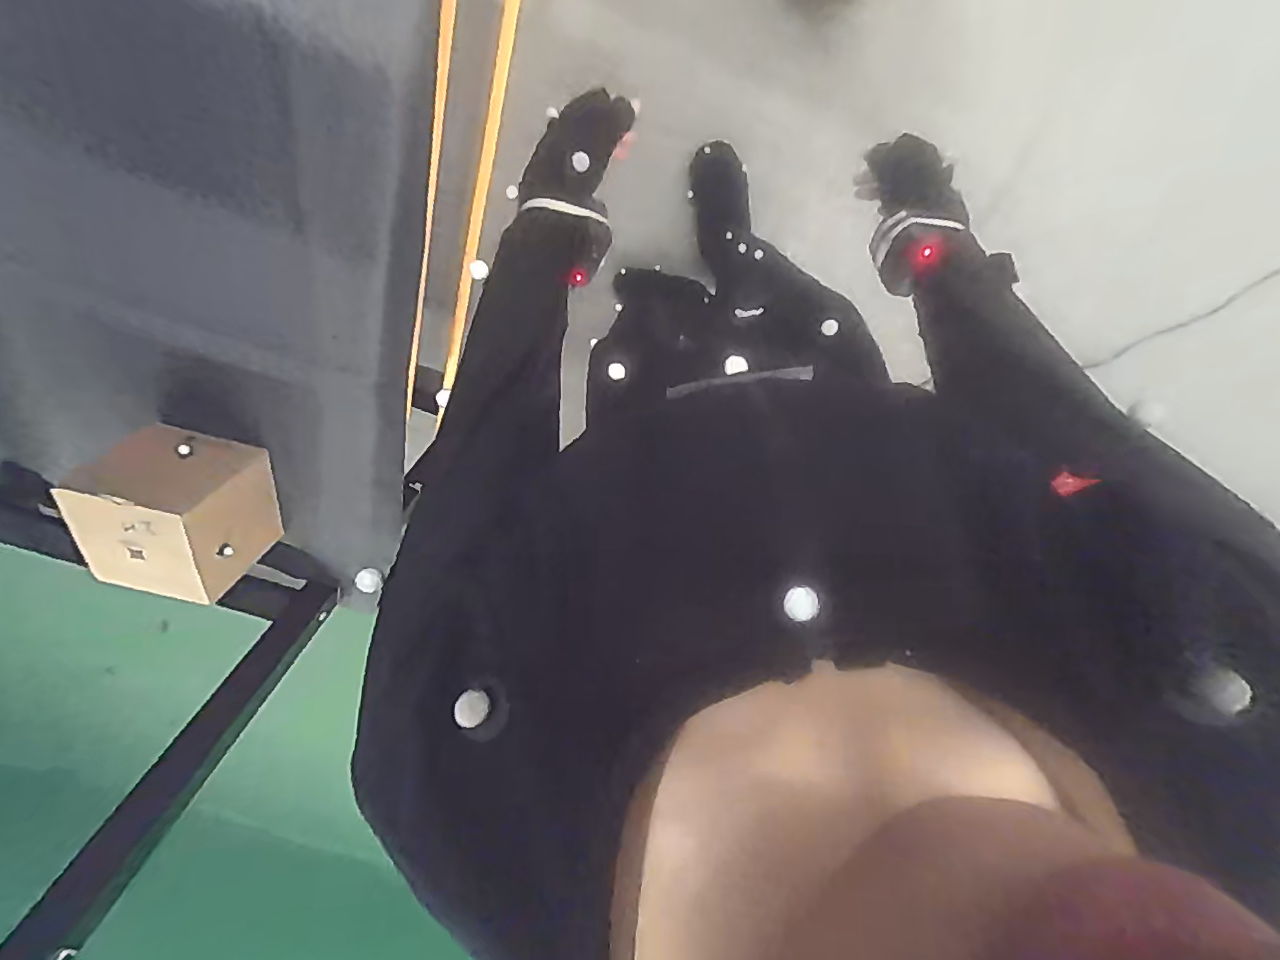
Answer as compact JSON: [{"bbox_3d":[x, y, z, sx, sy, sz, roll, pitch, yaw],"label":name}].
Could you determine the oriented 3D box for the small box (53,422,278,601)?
[{"bbox_3d":[-0.669,0.042,0.794,0.168,0.176,0.179,14,124,-3],"label":"small box"}]
